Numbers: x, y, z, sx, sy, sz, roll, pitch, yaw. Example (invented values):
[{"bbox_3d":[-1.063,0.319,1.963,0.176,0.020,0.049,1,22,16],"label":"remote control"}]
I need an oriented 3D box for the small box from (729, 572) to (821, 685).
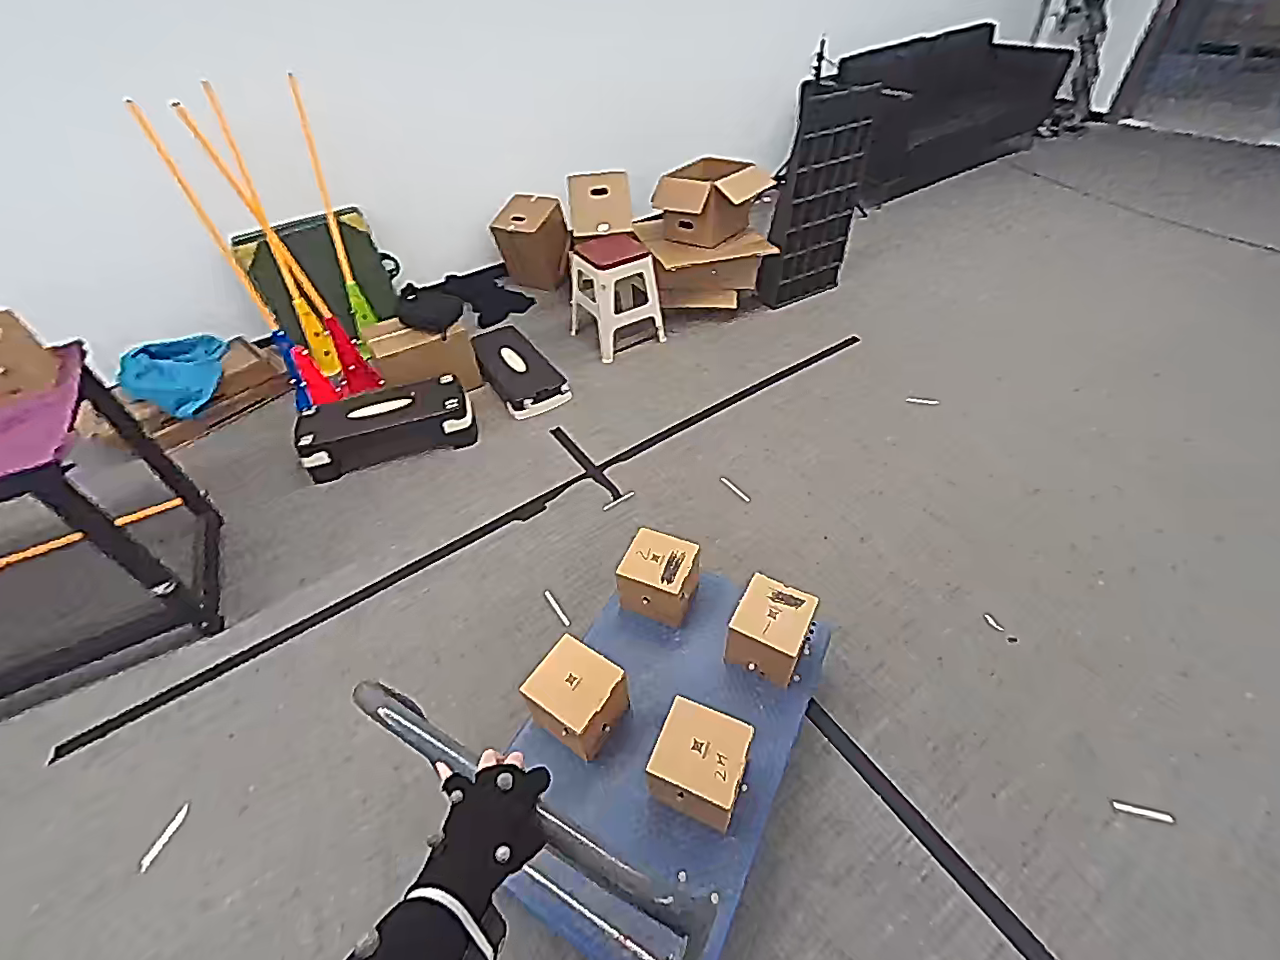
[{"bbox_3d":[0.328,0.369,1.338,0.168,0.176,0.179,21,51,23],"label":"small box"}]

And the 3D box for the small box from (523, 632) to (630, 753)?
[{"bbox_3d":[-0.140,0.493,1.248,0.179,0.176,0.168,25,52,25],"label":"small box"}]

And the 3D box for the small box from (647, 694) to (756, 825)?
[{"bbox_3d":[0.128,0.589,1.133,0.179,0.176,0.168,17,49,20],"label":"small box"}]
